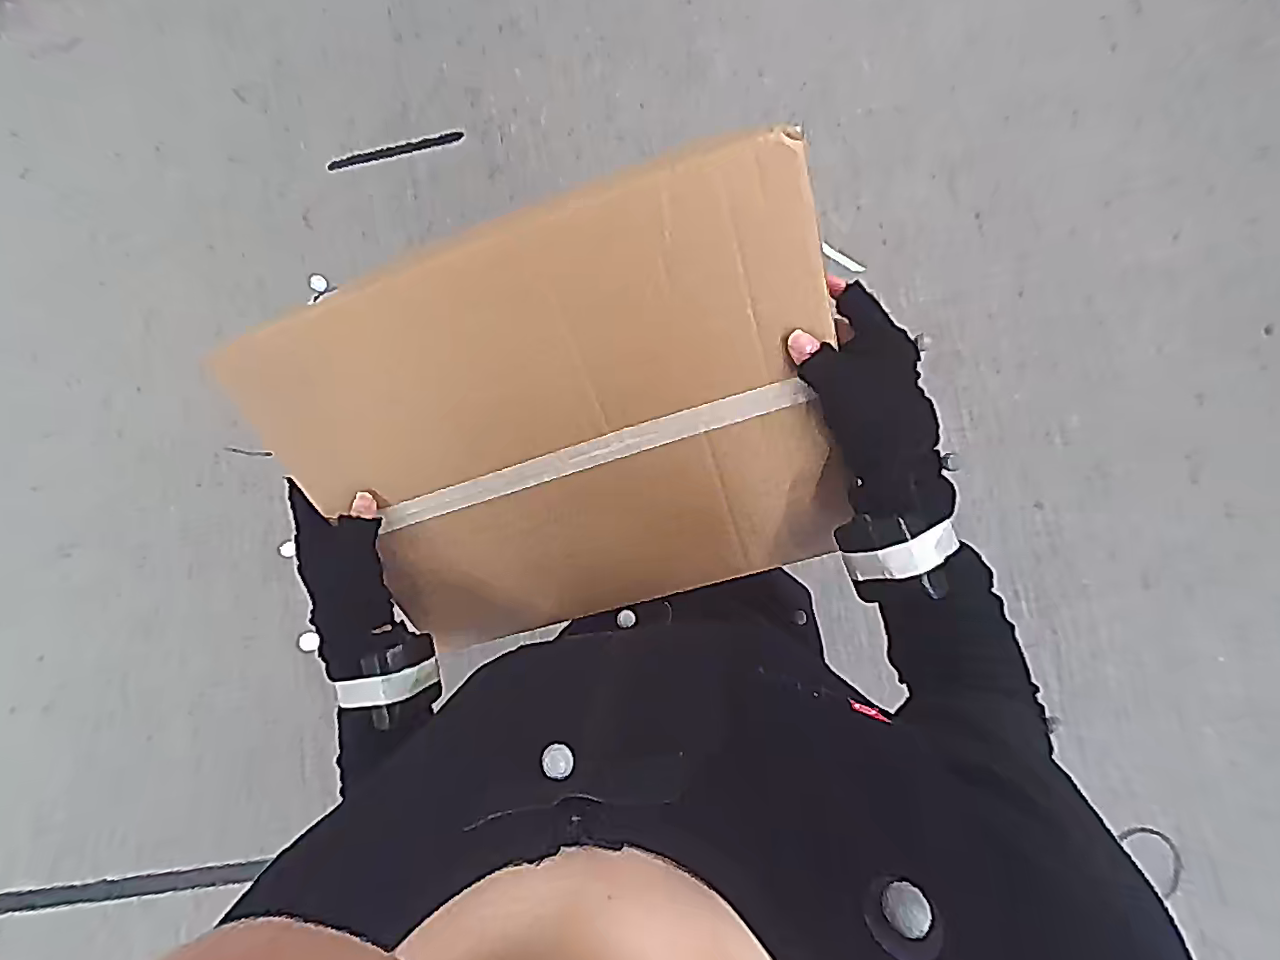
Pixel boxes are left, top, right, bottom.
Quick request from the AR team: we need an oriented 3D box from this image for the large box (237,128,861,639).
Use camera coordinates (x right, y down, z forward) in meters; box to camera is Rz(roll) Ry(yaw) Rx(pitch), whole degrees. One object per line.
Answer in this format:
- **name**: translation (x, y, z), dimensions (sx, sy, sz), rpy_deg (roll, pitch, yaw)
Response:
- **large box**: translation (-0.050, -0.100, 0.541), dimensions (0.408, 0.320, 0.320), rpy_deg (-16, 122, 9)
